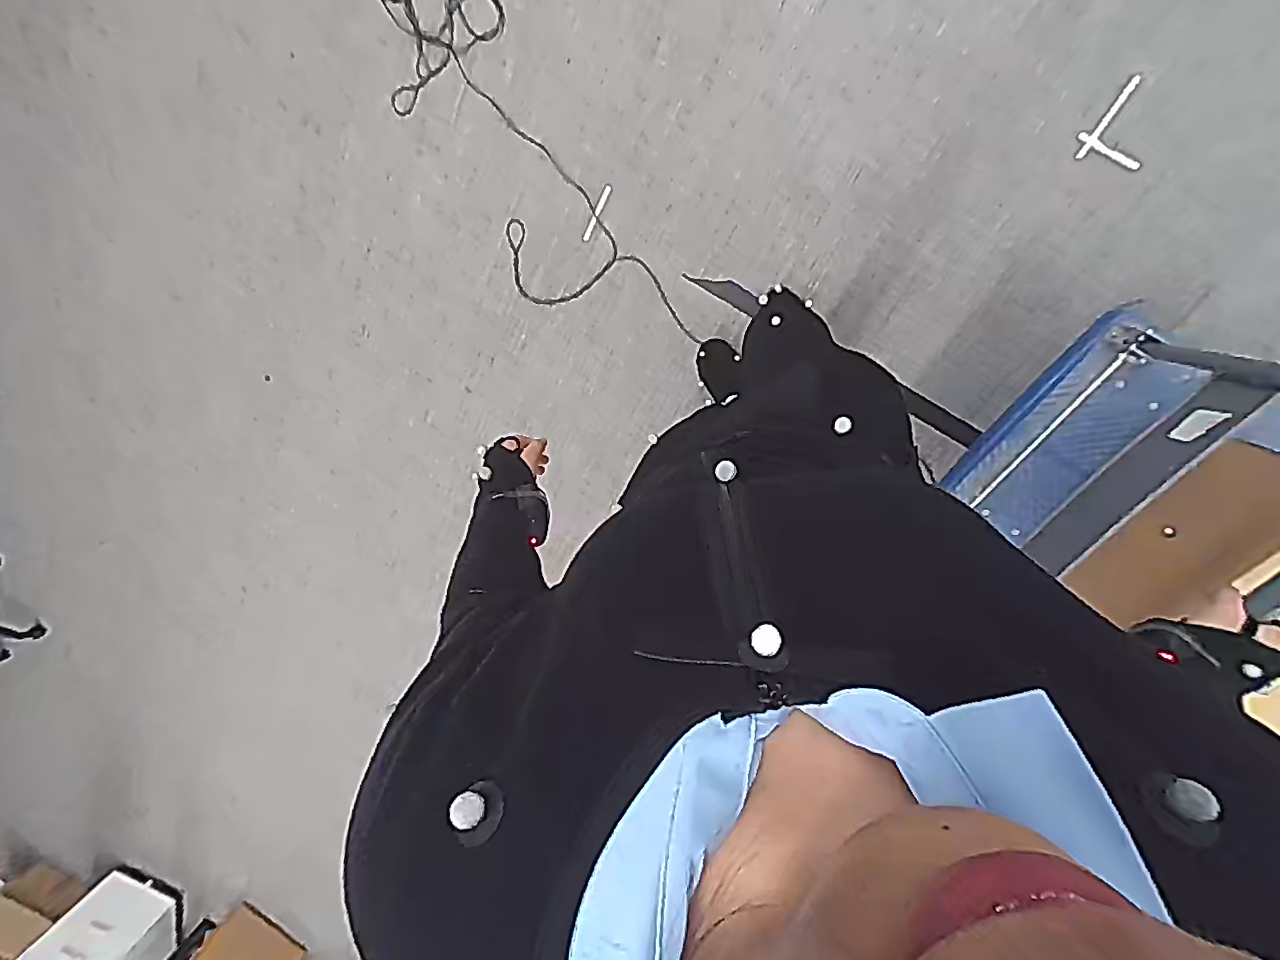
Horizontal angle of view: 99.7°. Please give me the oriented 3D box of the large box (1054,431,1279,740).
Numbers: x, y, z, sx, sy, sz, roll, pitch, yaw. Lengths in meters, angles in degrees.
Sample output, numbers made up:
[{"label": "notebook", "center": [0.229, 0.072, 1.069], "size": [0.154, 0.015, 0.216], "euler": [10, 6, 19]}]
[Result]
[{"label": "large box", "center": [1.123, 0.179, 1.013], "size": [0.320, 0.320, 0.408], "euler": [35, 113, -1]}]
